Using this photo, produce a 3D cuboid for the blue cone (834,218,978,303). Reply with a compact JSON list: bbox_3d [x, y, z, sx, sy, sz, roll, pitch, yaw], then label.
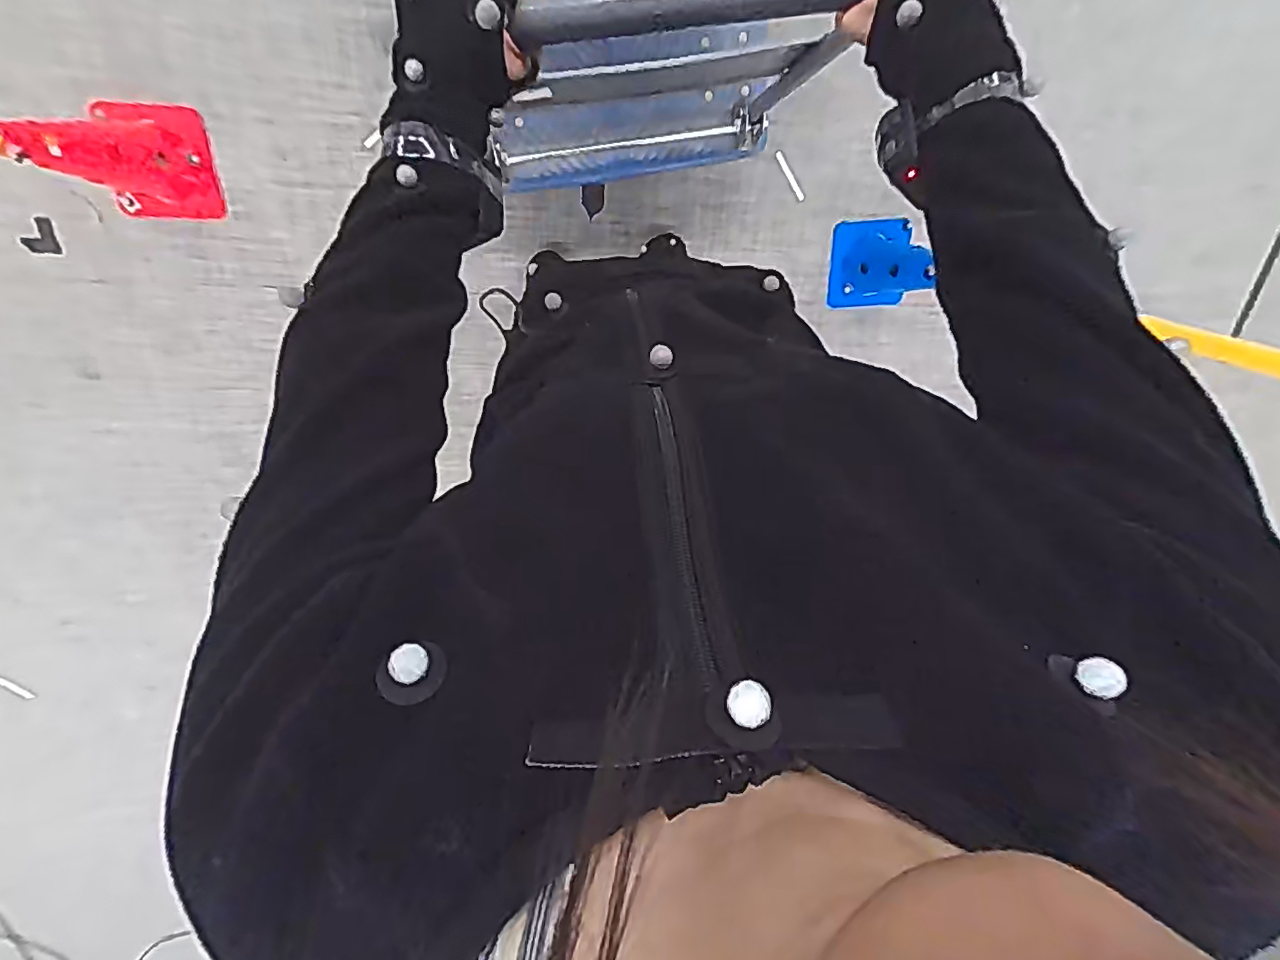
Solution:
[{"bbox_3d":[0.591,-0.471,1.180,0.193,0.380,0.192,-4,114,-7],"label":"blue cone"}]
